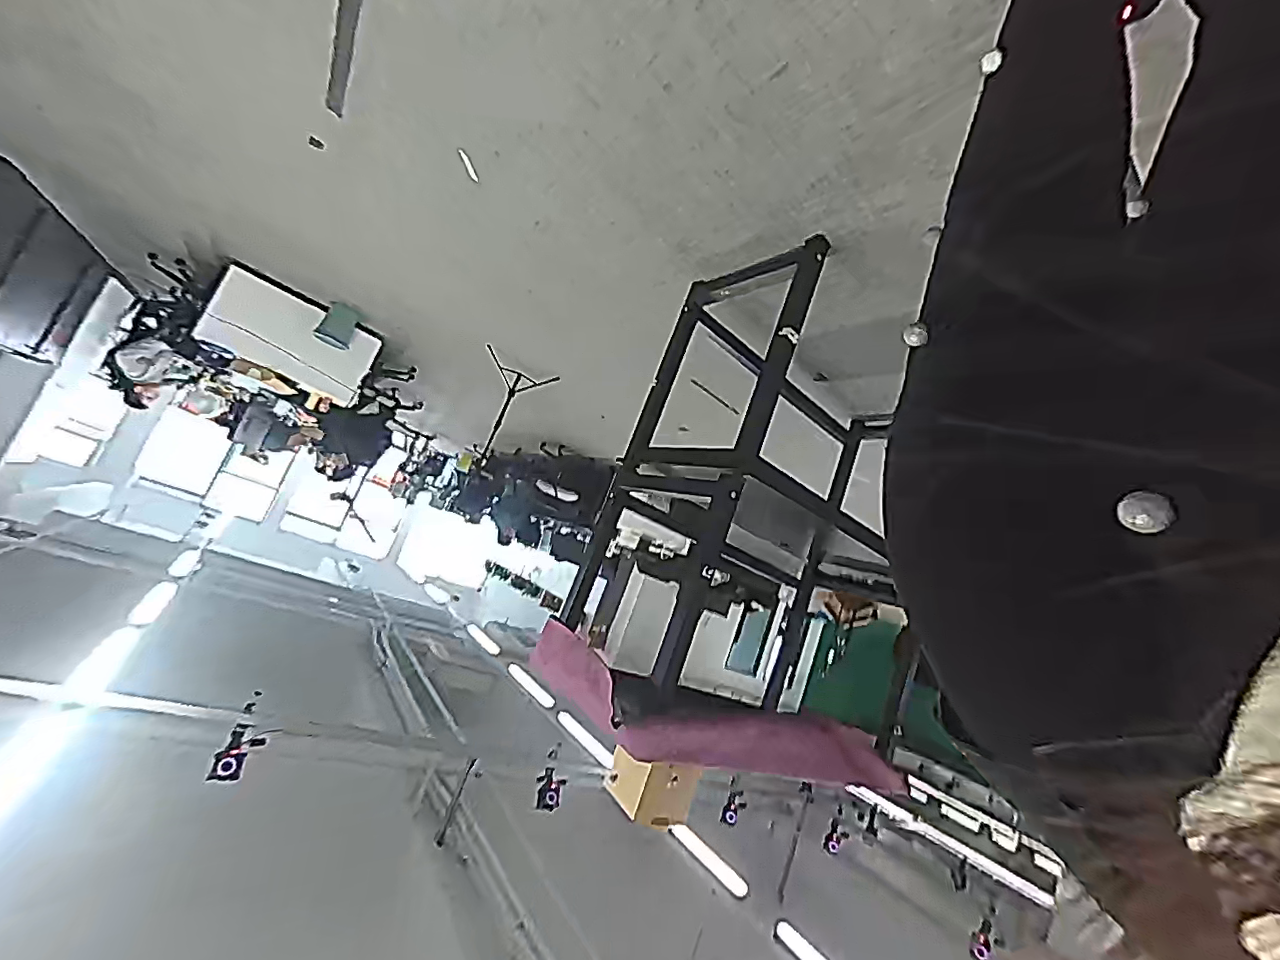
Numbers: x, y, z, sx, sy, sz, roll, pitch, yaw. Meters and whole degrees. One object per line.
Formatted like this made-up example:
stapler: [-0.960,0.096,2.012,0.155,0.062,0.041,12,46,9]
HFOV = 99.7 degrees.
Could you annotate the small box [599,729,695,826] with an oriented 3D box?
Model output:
small box: [0.021,0.778,1.433,0.168,0.176,0.179,25,170,-28]
